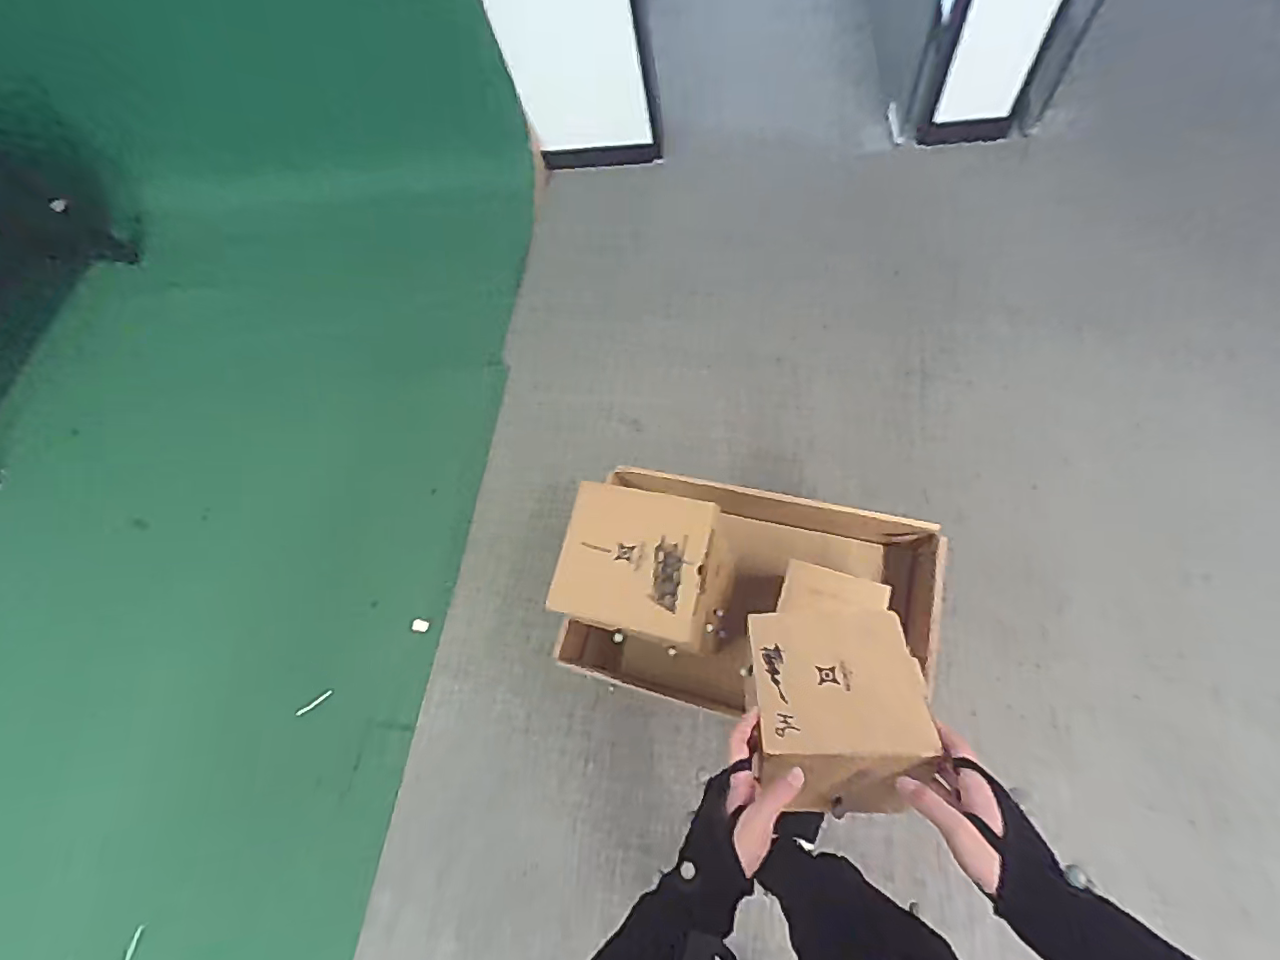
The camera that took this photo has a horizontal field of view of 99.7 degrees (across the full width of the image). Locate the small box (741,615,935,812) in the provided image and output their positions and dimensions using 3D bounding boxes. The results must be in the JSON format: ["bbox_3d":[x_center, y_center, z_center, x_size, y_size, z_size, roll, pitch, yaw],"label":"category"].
[{"bbox_3d":[0.214,0.277,0.643,0.179,0.176,0.168,-3,43,7],"label":"small box"}]

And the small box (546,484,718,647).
[{"bbox_3d":[0.003,0.120,0.720,0.179,0.176,0.168,10,73,15],"label":"small box"}]

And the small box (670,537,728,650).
[{"bbox_3d":[0.038,0.172,0.873,0.179,0.176,0.168,12,73,15],"label":"small box"}]

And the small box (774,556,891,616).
[{"bbox_3d":[0.323,0.255,0.954,0.168,0.176,0.179,15,75,17],"label":"small box"}]
